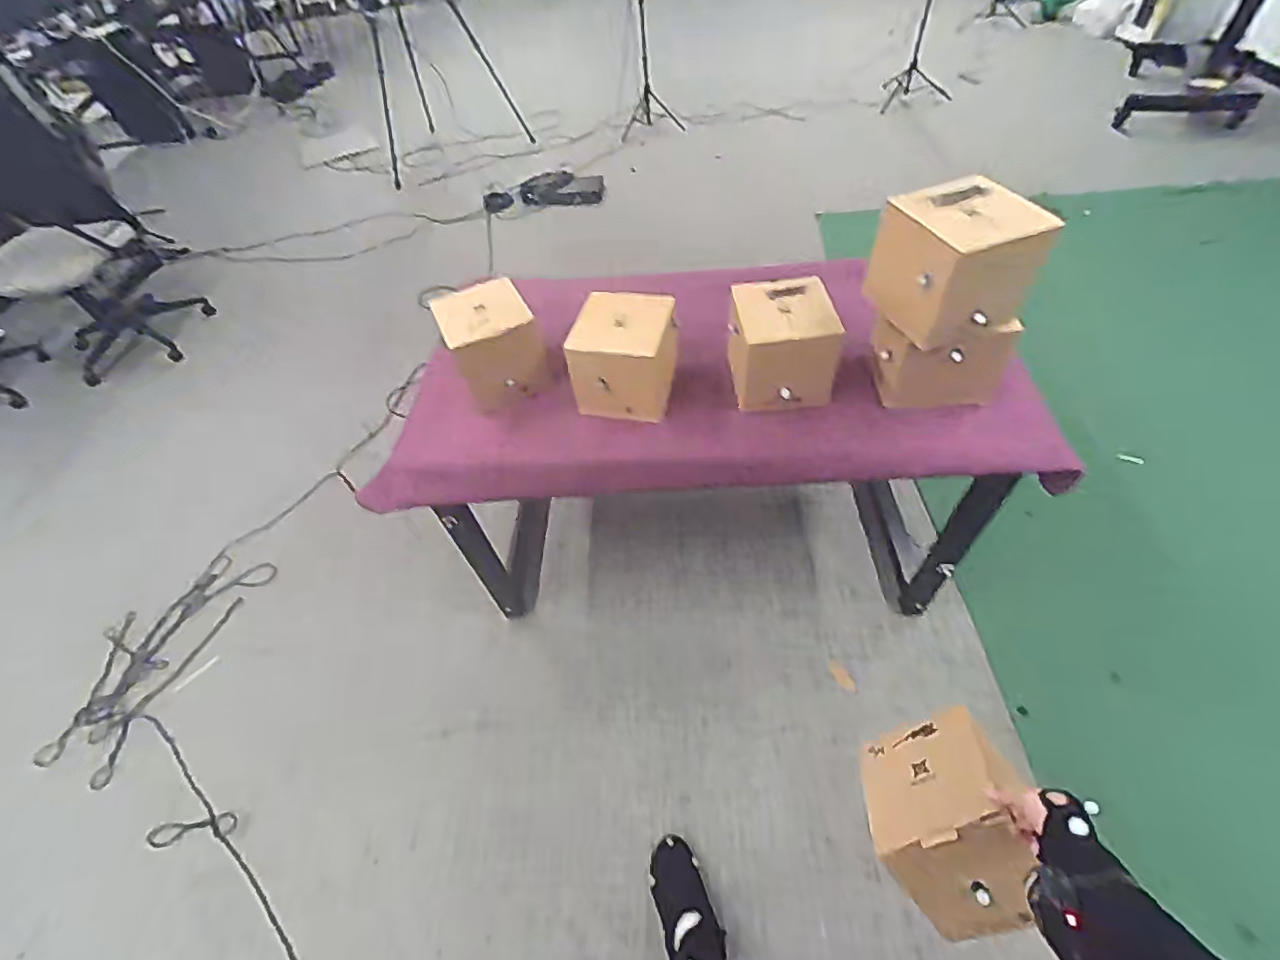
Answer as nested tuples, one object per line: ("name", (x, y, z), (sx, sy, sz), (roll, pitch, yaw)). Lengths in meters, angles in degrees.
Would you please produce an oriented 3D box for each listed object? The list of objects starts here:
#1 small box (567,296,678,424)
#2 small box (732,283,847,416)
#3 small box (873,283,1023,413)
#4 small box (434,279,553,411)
("small box", (-0.022, -0.227, 1.033), (0.168, 0.176, 0.179), (8, 52, 13))
("small box", (0.267, -0.243, 1.013), (0.168, 0.176, 0.179), (-5, 51, 2))
("small box", (0.536, -0.234, 0.976), (0.179, 0.176, 0.168), (-1, 51, 6))
("small box", (-0.291, -0.270, 1.092), (0.168, 0.176, 0.179), (-23, 53, -12))
